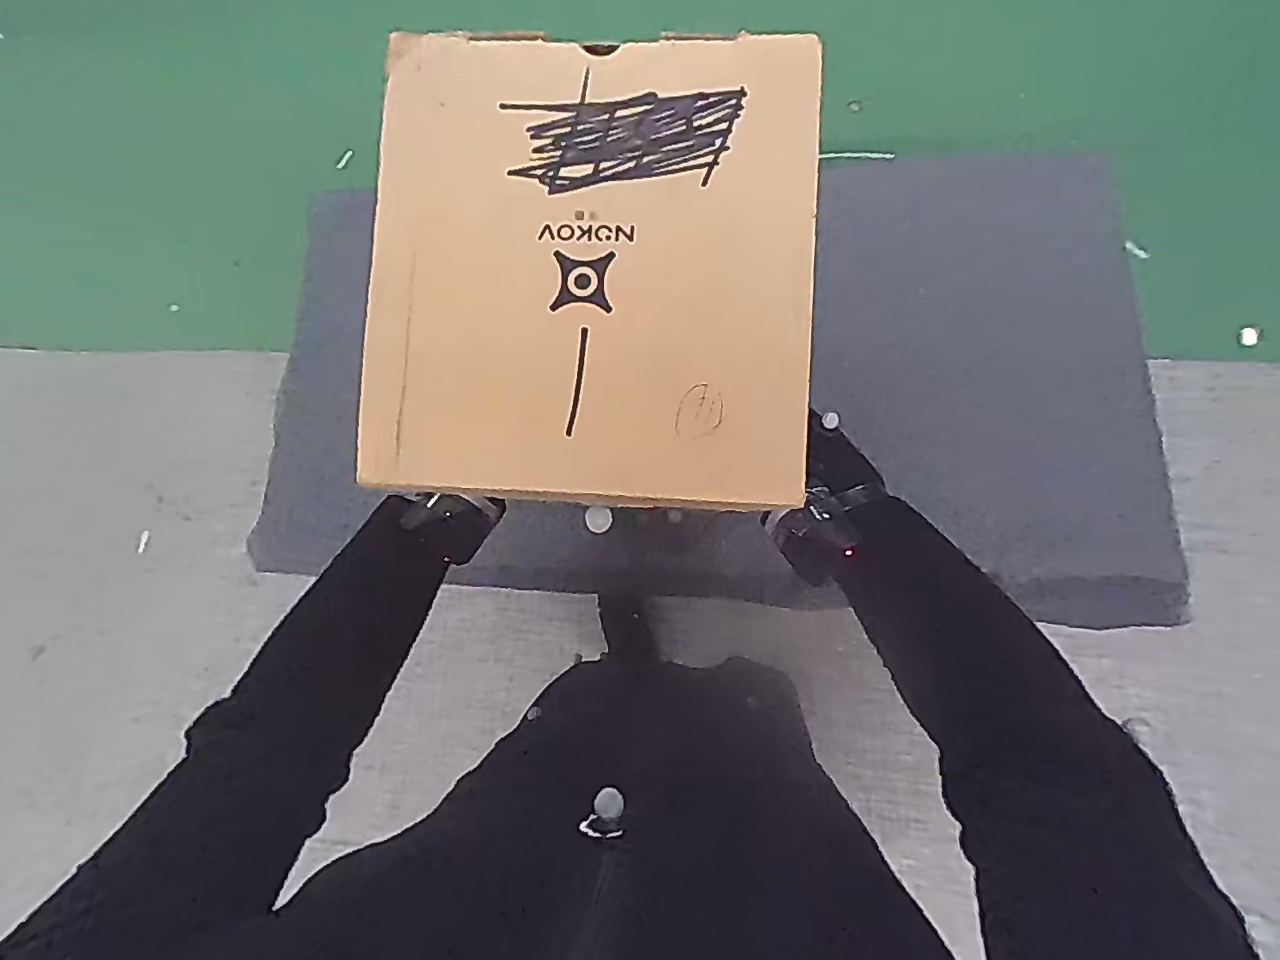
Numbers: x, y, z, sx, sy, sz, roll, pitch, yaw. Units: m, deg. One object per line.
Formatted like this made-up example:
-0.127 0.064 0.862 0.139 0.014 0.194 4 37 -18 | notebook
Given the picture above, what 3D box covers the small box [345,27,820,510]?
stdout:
-0.016 -0.077 0.276 0.168 0.176 0.179 3 88 5 | small box
